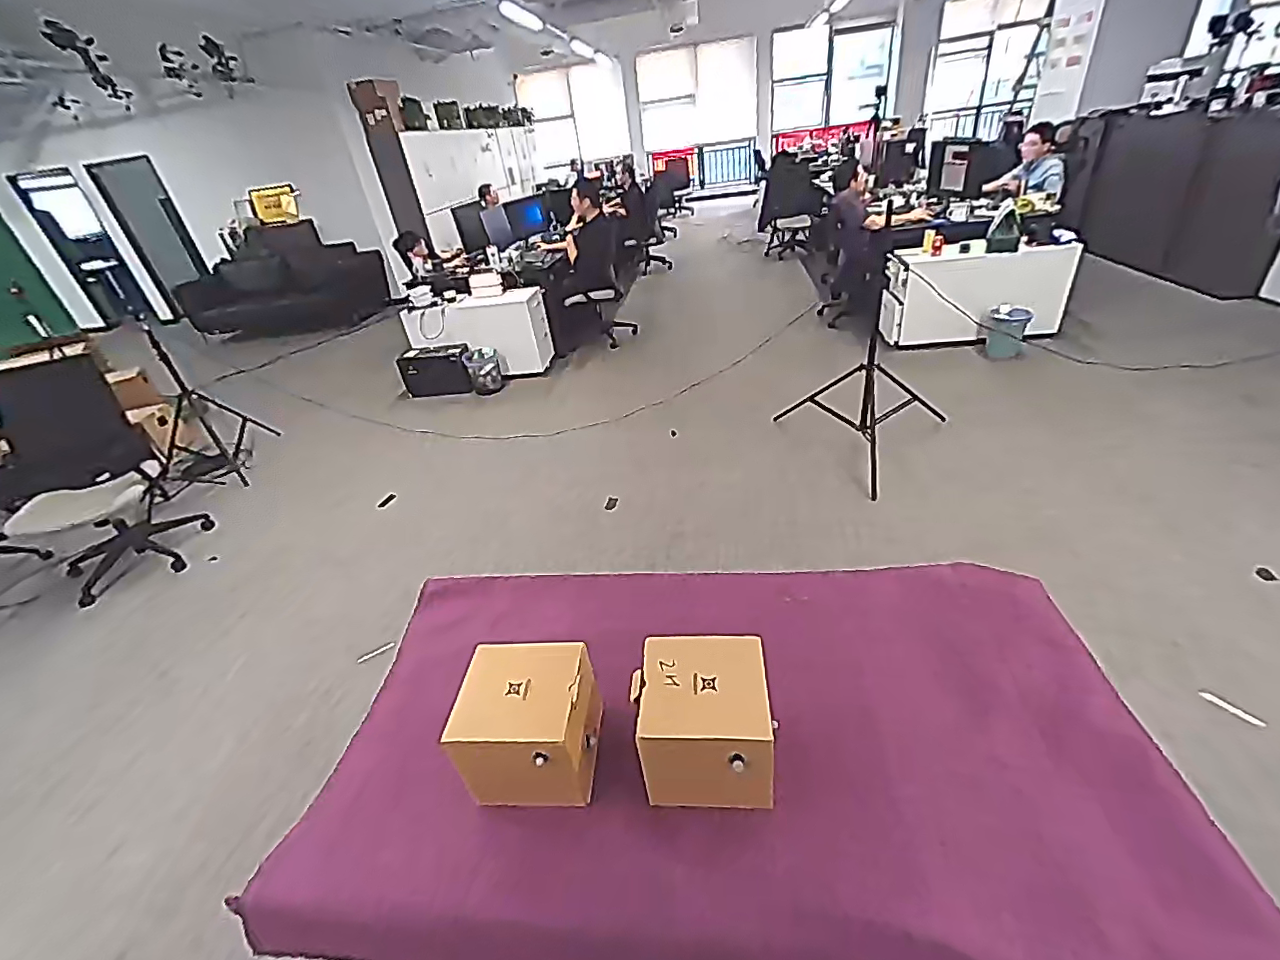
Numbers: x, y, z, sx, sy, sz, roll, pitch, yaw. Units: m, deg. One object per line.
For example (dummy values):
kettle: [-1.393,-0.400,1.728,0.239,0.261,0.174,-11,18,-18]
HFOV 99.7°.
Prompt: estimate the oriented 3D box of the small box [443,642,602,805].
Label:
small box: [-0.164,0.369,0.821,0.179,0.176,0.168,-4,33,6]

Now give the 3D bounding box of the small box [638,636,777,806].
small box: [0.100,0.349,0.788,0.179,0.176,0.168,-4,32,8]
